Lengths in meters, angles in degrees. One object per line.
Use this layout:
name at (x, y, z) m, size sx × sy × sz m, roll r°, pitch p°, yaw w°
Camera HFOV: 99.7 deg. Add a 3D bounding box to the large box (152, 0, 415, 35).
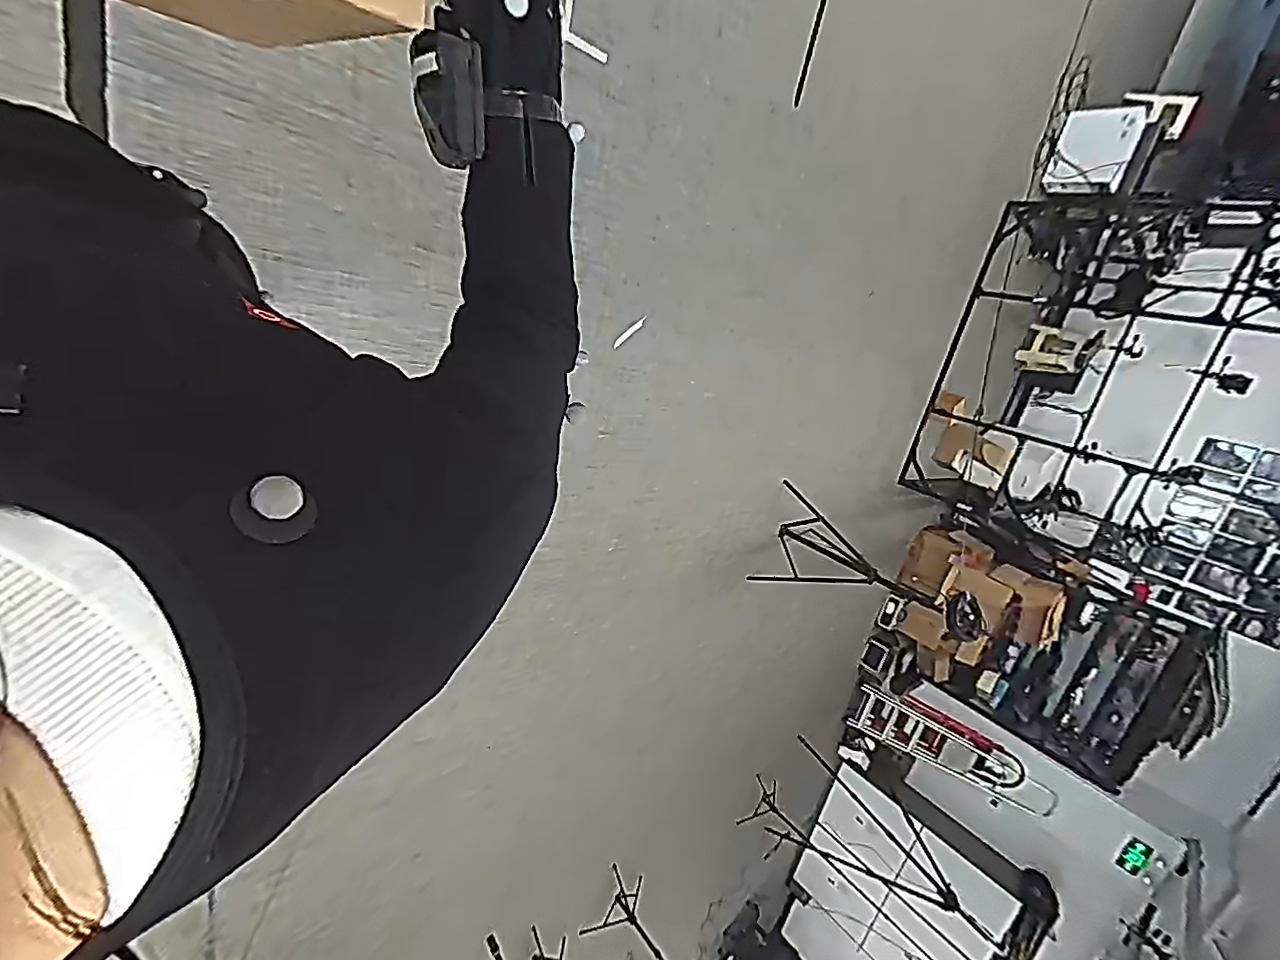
large box at (-0.339, -0.425, 0.192) m, size 0.408 × 0.320 × 0.320 m, roll -14°, pitch 127°, yaw -44°
